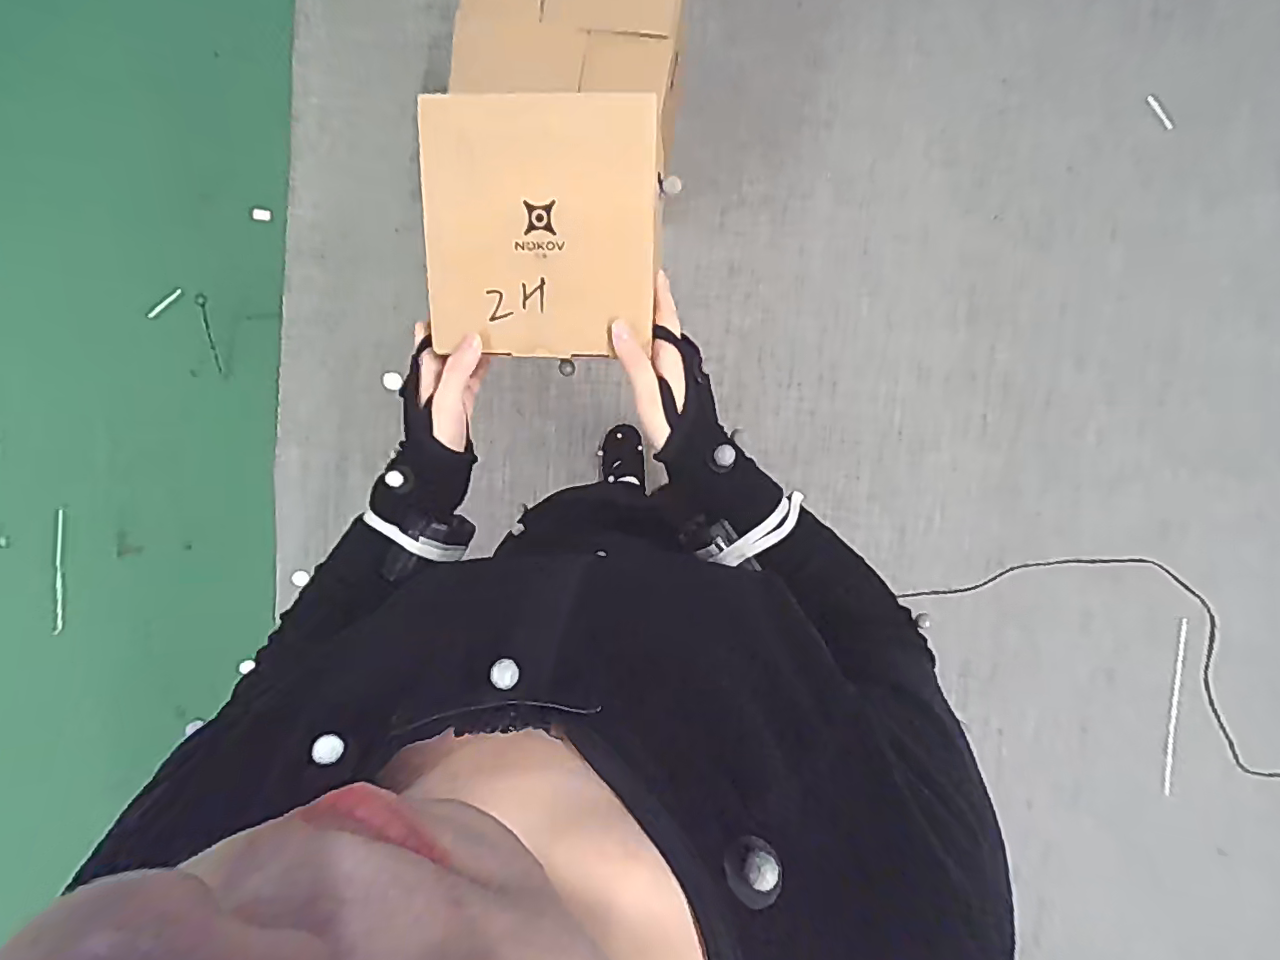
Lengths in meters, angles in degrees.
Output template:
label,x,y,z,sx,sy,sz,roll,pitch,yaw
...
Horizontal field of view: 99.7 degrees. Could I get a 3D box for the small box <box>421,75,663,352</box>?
label,x,y,z,sx,sy,sz,roll,pitch,yaw
small box,-0.068,-0.204,0.461,0.168,0.176,0.179,3,103,4
